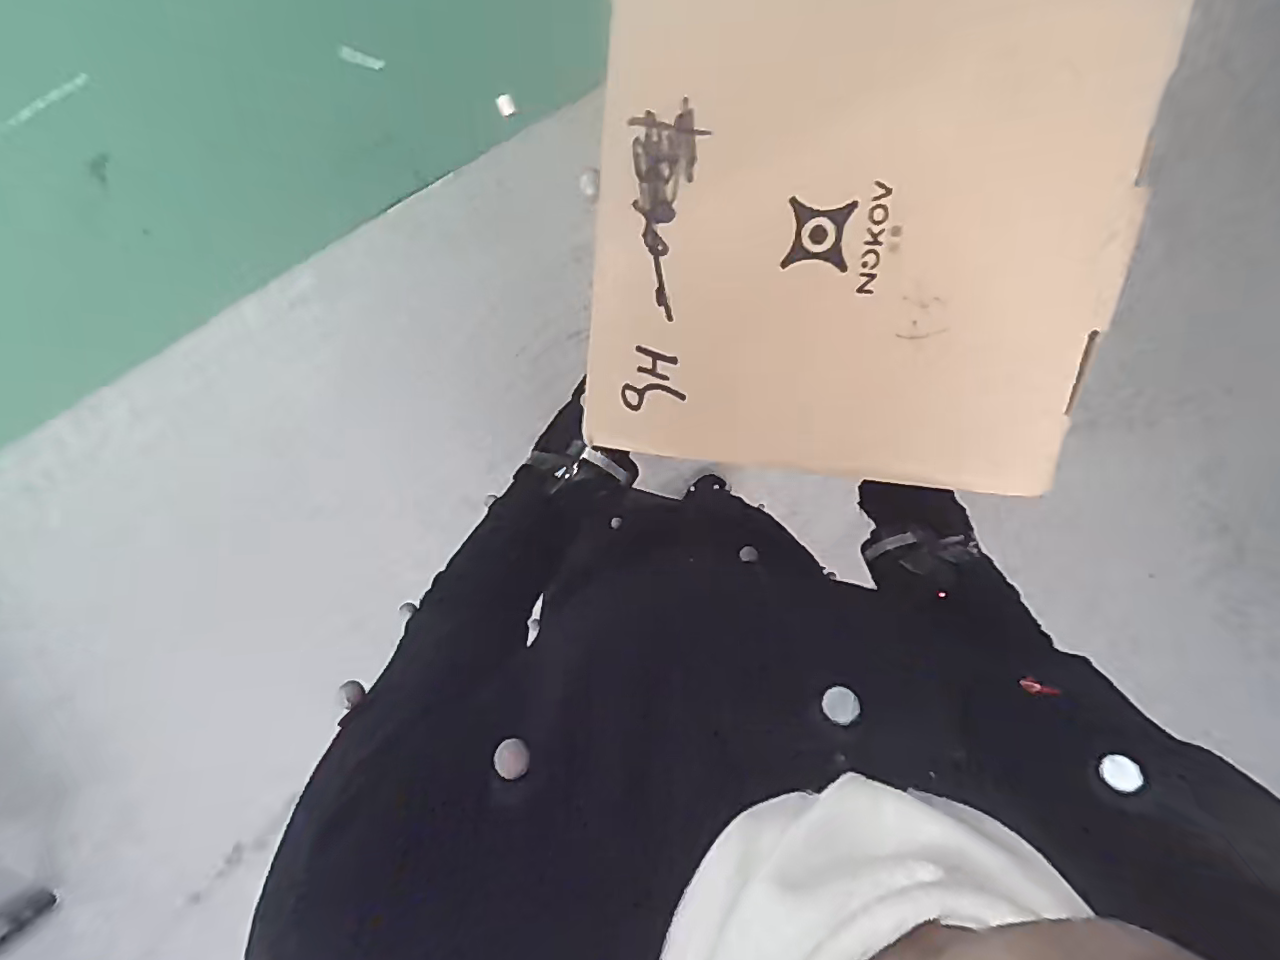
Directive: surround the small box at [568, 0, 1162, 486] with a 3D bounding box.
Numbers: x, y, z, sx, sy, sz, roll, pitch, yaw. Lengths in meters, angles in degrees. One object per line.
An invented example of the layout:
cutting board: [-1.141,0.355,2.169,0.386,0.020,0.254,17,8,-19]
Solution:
small box: [0.074,-0.103,0.264,0.179,0.176,0.168,6,103,6]
